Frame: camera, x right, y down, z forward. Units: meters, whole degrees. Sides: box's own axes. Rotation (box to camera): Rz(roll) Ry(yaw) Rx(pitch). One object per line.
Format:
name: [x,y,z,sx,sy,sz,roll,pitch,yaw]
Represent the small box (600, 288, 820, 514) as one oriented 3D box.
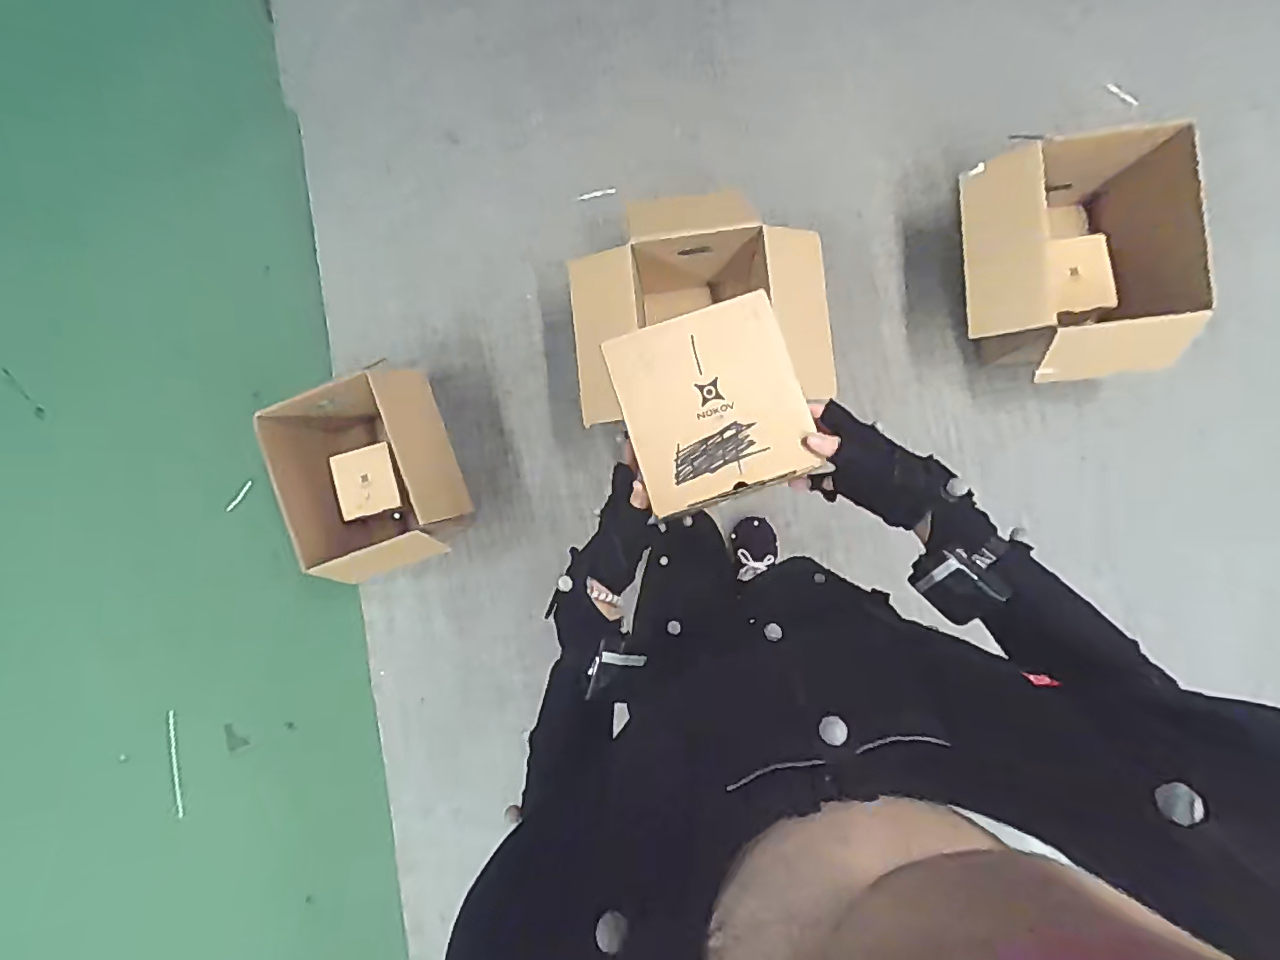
small box: [0.068,-0.067,0.578,0.168,0.176,0.179,-18,81,1]
